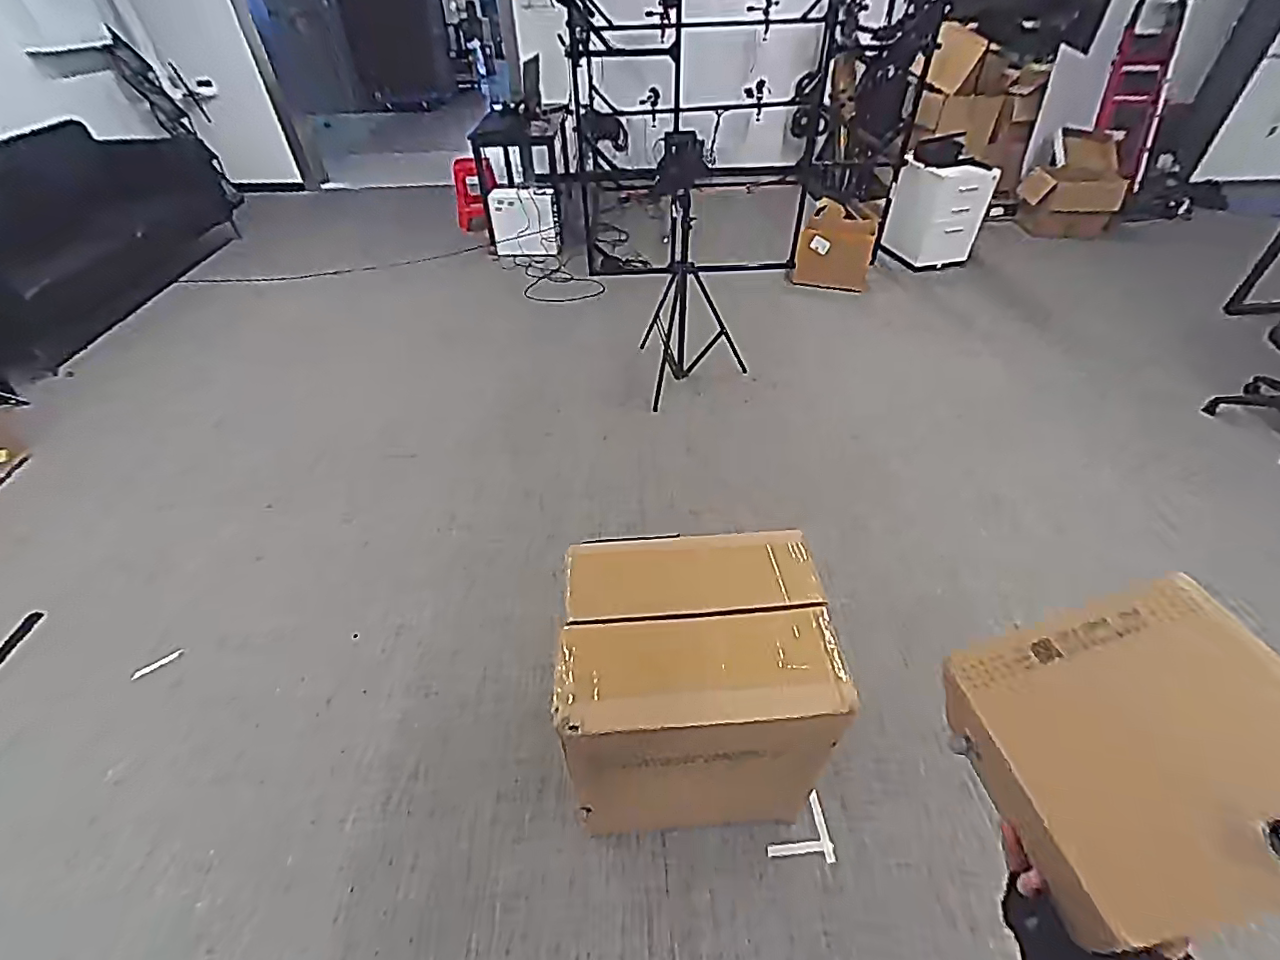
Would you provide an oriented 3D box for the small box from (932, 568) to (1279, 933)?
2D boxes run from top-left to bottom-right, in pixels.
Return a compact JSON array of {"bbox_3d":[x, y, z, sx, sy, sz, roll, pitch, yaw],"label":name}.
[{"bbox_3d":[0.333,0.191,0.382,0.168,0.179,0.176,-26,45,11],"label":"small box"}]
